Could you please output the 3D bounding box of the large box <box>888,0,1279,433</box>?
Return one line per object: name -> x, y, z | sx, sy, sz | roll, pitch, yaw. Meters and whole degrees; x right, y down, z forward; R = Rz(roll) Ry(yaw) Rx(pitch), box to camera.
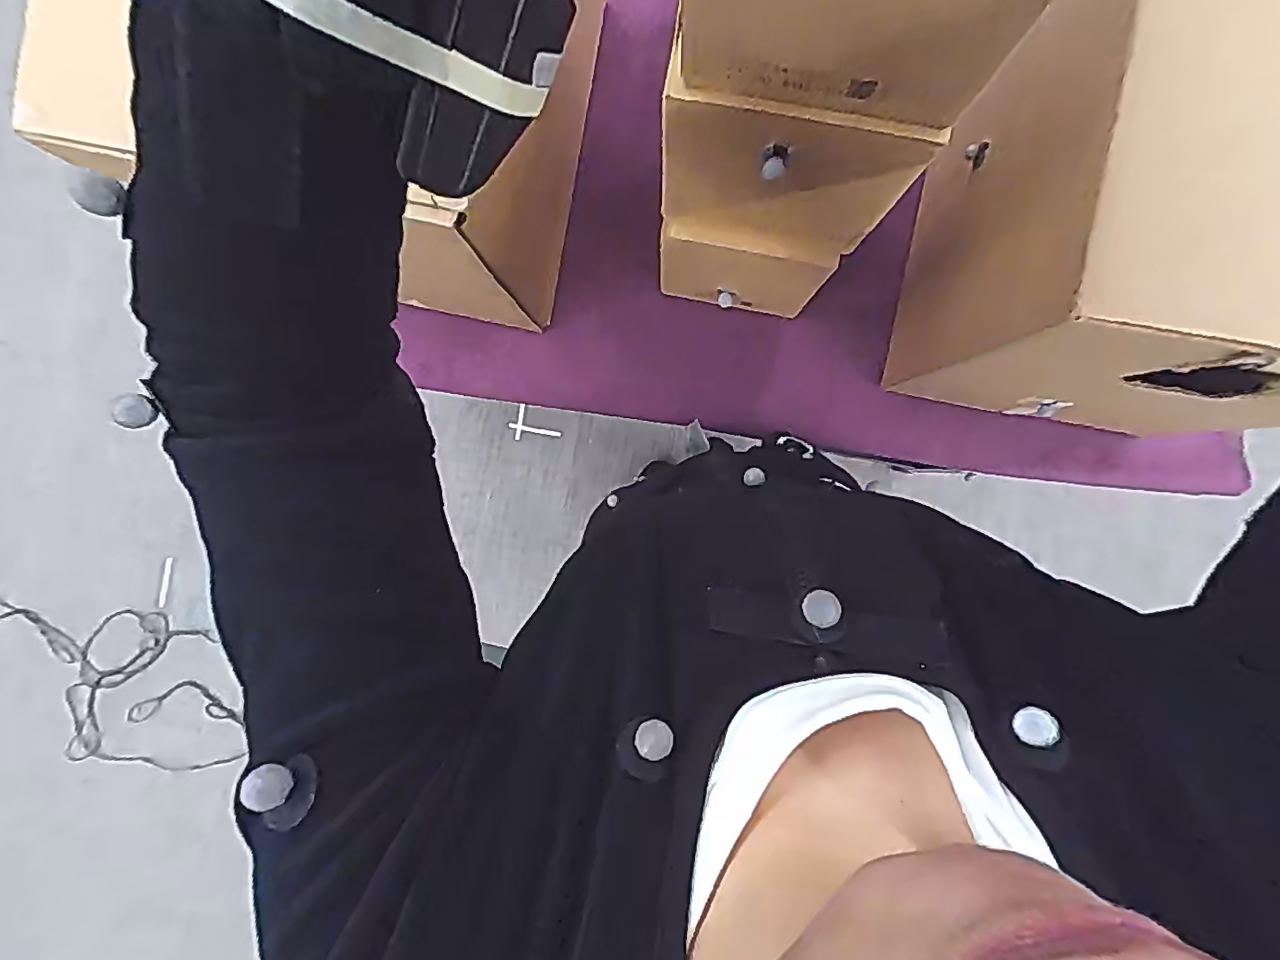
large box -> 0.462, -0.270, 0.485 | 0.320, 0.320, 0.408 | 11, 91, 2
